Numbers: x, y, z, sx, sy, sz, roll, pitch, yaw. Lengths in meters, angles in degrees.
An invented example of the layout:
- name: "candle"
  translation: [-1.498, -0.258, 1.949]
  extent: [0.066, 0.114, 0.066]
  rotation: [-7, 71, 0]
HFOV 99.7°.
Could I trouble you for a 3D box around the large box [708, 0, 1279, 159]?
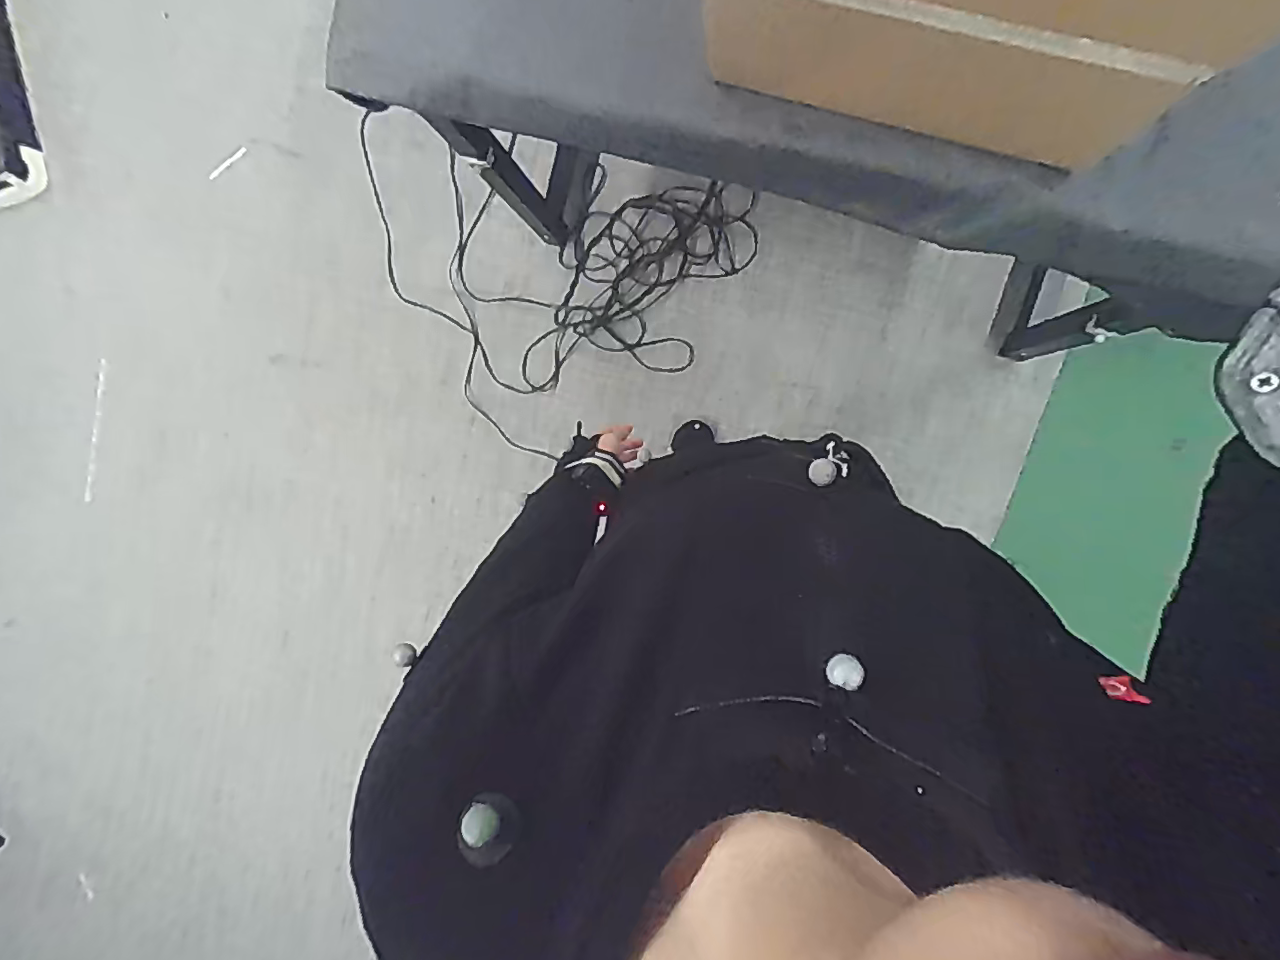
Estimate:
- name: "large box"
  translation: [0.286, -0.512, 0.408]
  extent: [0.408, 0.320, 0.320]
  rotation: [18, 96, 7]
